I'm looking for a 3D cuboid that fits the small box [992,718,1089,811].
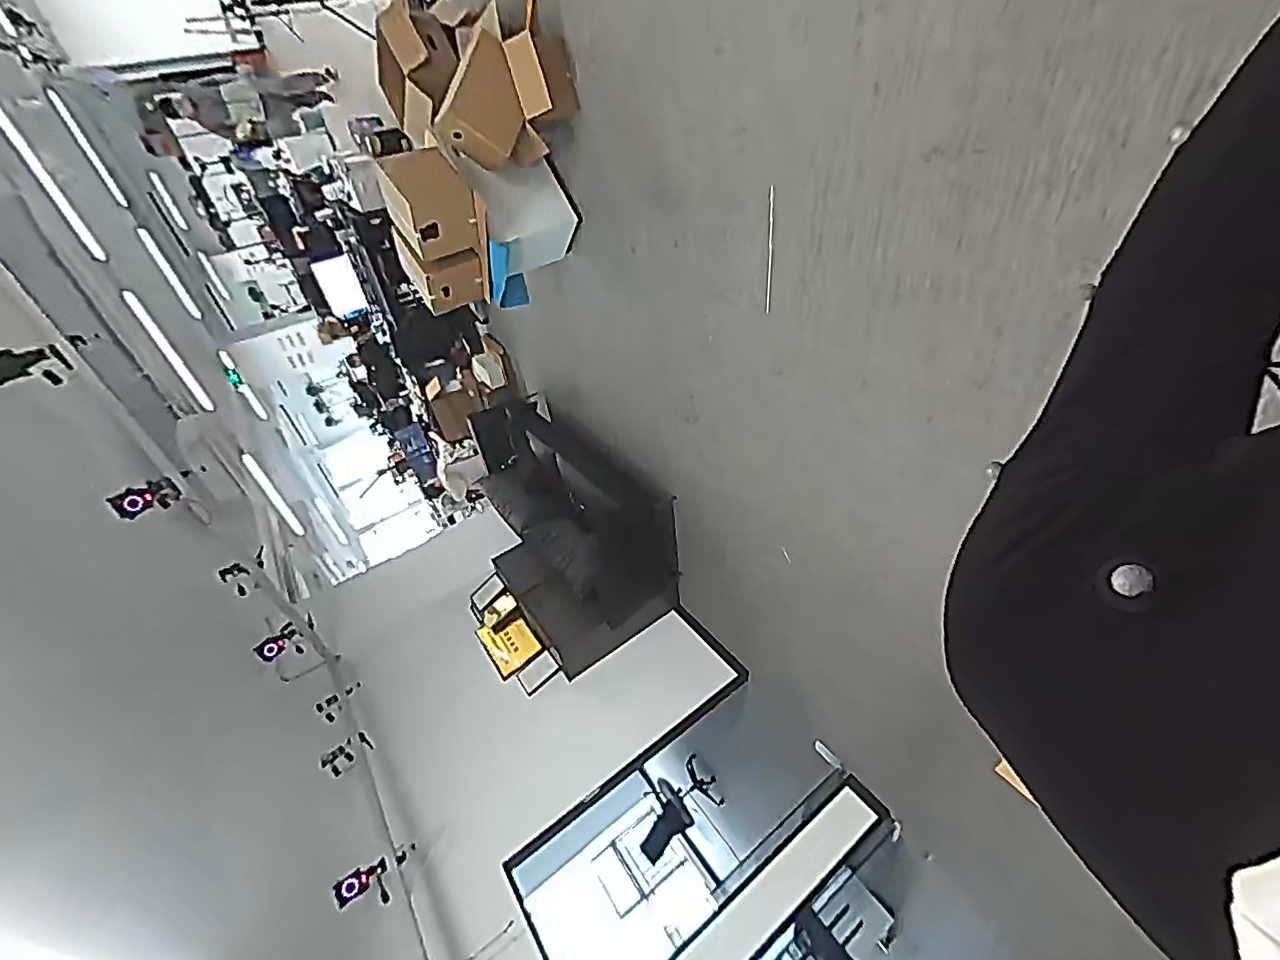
[{"bbox_3d":[1.277,0.905,1.725,0.168,0.176,0.179,41,148,38],"label":"small box"}]
